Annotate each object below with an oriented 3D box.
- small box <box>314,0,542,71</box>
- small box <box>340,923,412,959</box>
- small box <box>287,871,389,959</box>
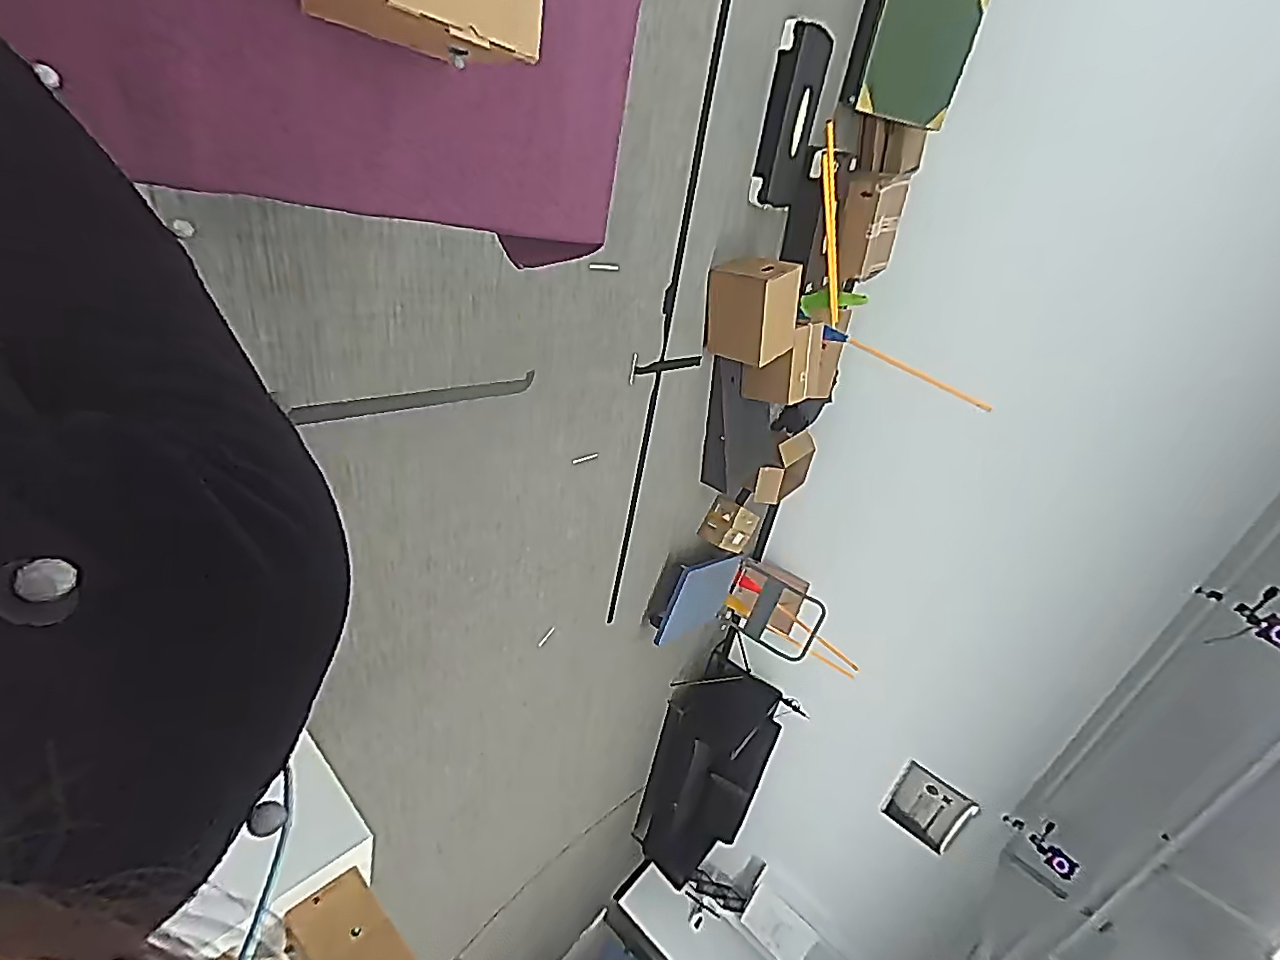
[{"bbox_3d":[-0.207,-0.519,0.513,0.168,0.176,0.179,-22,131,-47],"label":"small box"},{"bbox_3d":[-0.620,1.188,1.241,0.179,0.176,0.168,-14,125,-50],"label":"small box"},{"bbox_3d":[-0.744,1.122,1.328,0.168,0.176,0.179,-14,127,-50],"label":"small box"}]
